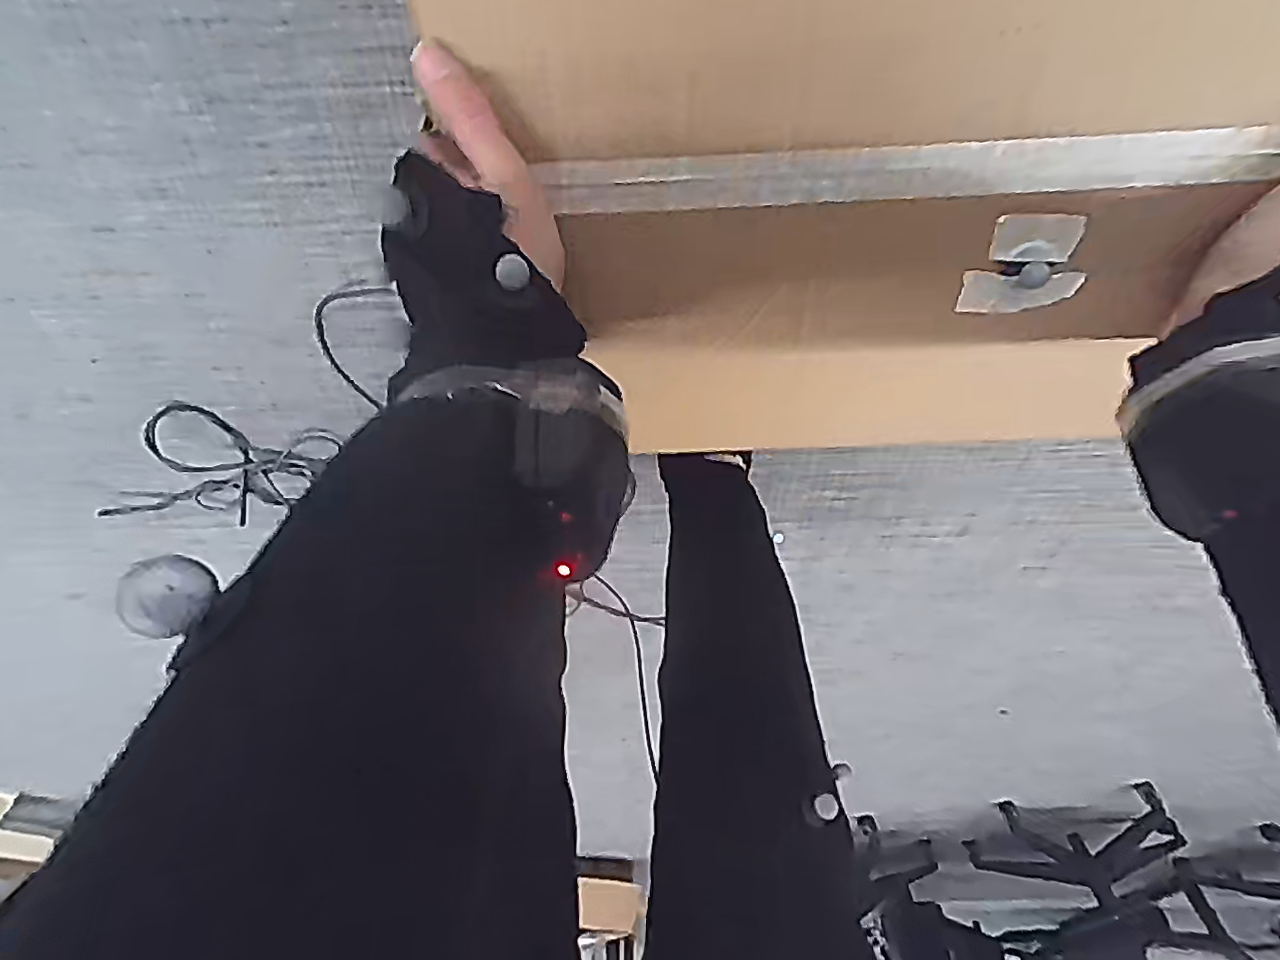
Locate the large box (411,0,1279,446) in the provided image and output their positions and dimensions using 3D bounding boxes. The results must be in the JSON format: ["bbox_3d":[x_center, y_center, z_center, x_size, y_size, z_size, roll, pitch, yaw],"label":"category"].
[{"bbox_3d":[0.110,-0.244,0.348,0.408,0.320,0.320,-3,133,1],"label":"large box"}]
